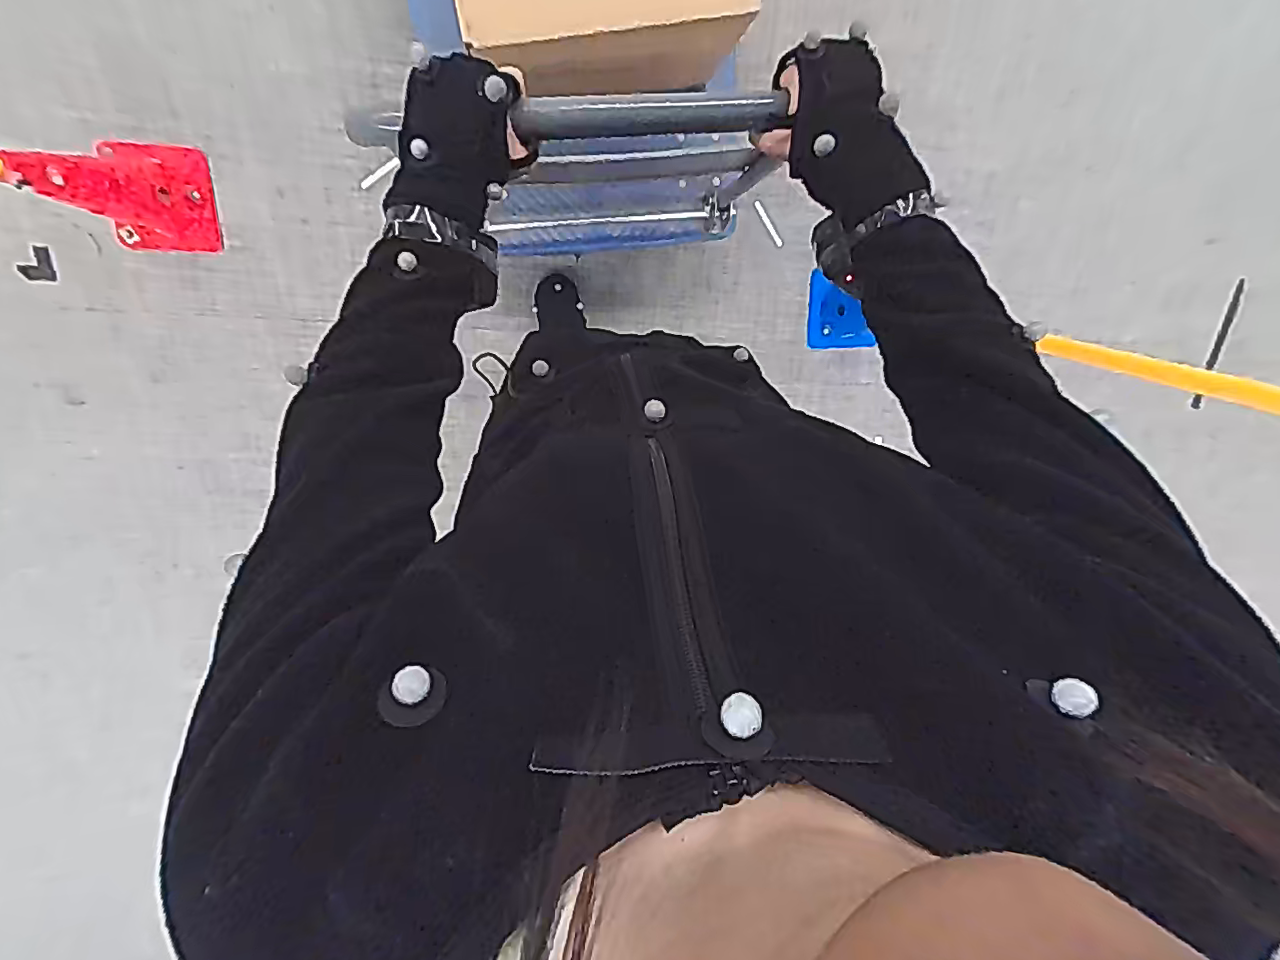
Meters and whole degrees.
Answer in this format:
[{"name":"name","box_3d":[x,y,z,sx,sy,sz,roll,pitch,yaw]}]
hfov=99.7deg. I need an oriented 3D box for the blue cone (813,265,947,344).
[{"name":"blue cone","box_3d":[0.555,-0.393,1.225,0.193,0.380,0.192,-3,109,-7]}]
